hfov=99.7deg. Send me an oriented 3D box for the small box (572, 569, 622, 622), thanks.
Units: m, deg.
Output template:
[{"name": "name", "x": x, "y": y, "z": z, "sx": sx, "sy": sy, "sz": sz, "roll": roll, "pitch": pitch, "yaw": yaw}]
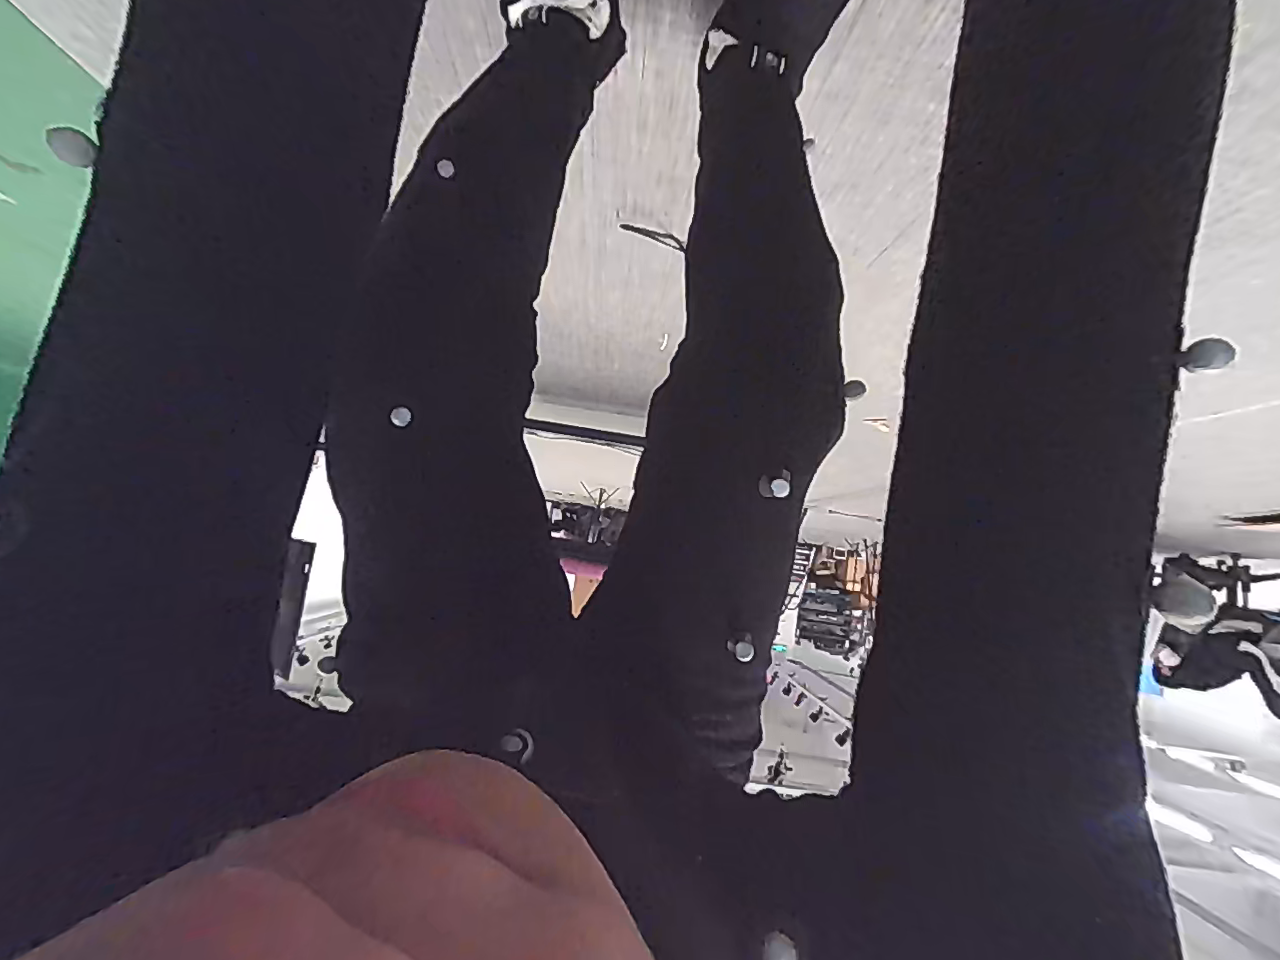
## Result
[{"name": "small box", "x": -0.162, "y": 0.437, "z": 2.081, "sx": 0.168, "sy": 0.176, "sz": 0.179, "roll": 8, "pitch": 173, "yaw": -1}]
